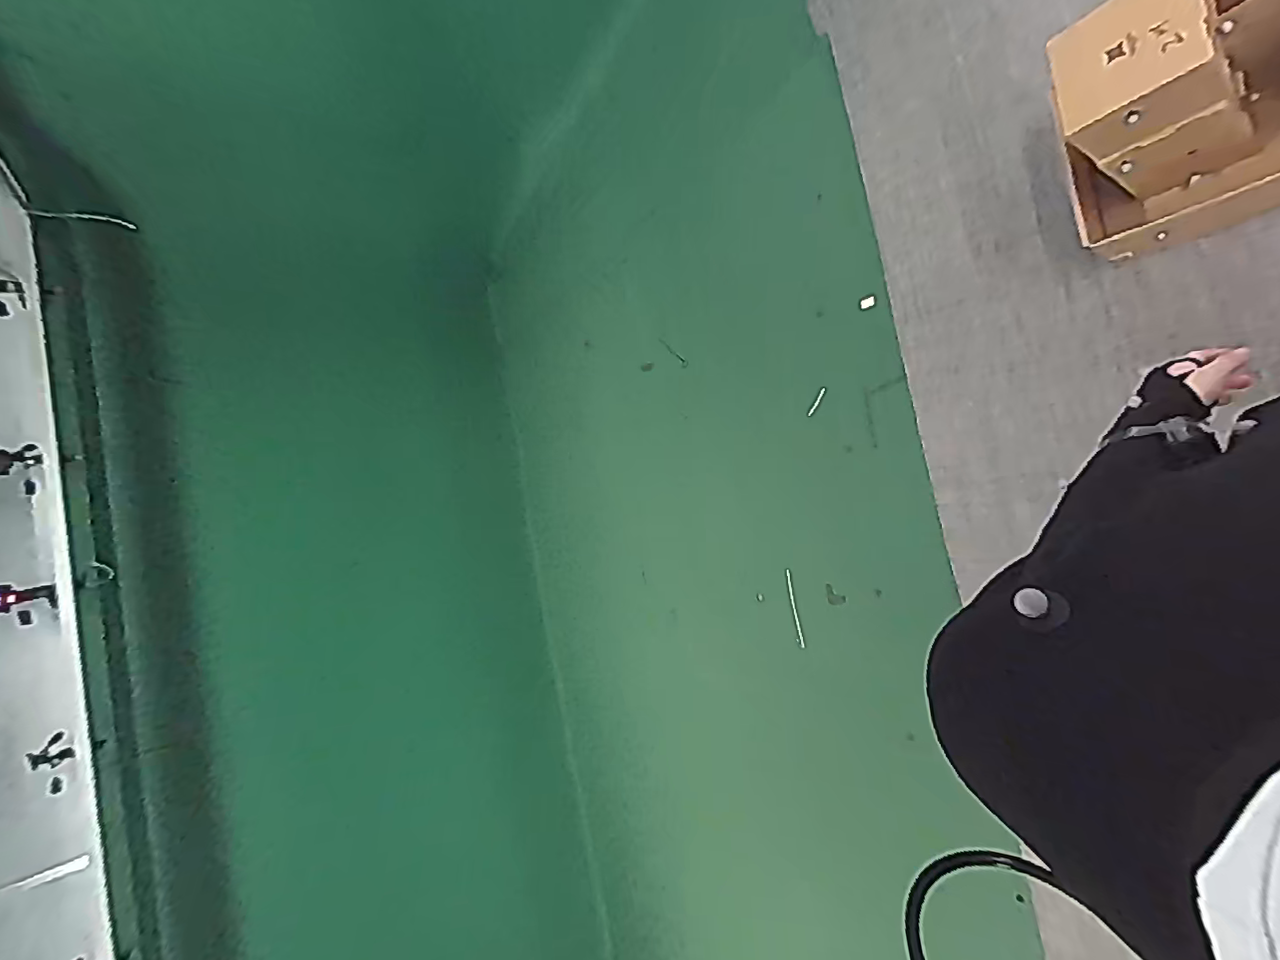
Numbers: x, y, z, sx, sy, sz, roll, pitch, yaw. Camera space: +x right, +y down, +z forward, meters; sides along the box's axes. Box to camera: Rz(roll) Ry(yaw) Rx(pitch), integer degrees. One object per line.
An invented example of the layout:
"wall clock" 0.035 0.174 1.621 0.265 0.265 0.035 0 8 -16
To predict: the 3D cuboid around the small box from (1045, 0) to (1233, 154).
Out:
"small box" 0.794 -0.661 0.864 0.179 0.176 0.168 -13 86 55
